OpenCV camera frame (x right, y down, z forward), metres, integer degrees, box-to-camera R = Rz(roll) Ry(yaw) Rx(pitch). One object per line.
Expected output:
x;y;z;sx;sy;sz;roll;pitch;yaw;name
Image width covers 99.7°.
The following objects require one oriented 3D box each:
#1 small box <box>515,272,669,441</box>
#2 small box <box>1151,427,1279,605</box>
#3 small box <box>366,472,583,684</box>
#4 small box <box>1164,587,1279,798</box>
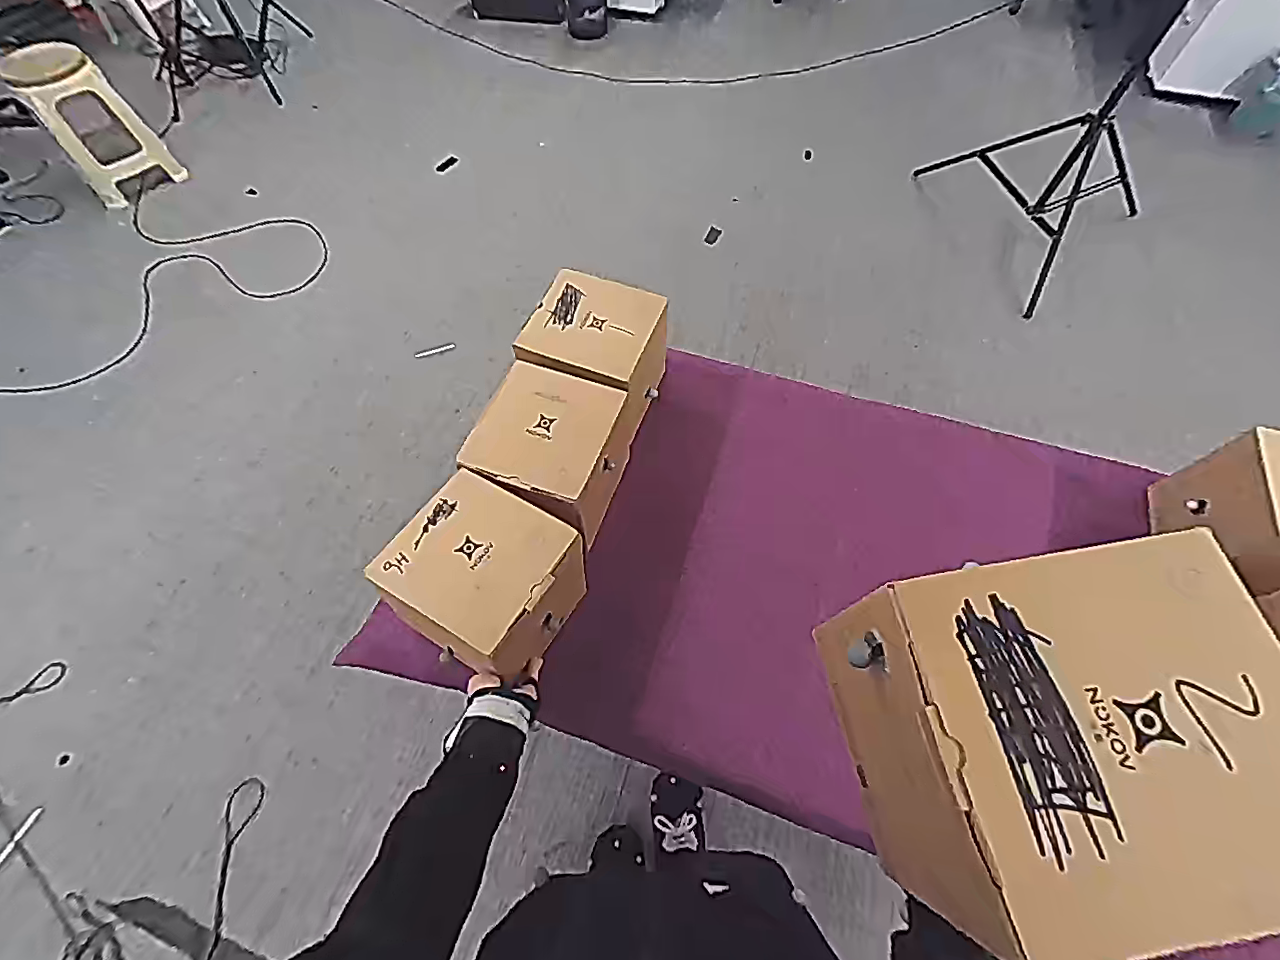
-0.066;-0.184;0.839;0.179;0.176;0.168;19;65;9;small box
0.810;0.063;0.695;0.179;0.176;0.168;18;63;9;small box
-0.184;0.128;0.662;0.179;0.176;0.168;28;59;13;small box
0.736;0.250;0.598;0.168;0.176;0.179;21;62;12;small box
